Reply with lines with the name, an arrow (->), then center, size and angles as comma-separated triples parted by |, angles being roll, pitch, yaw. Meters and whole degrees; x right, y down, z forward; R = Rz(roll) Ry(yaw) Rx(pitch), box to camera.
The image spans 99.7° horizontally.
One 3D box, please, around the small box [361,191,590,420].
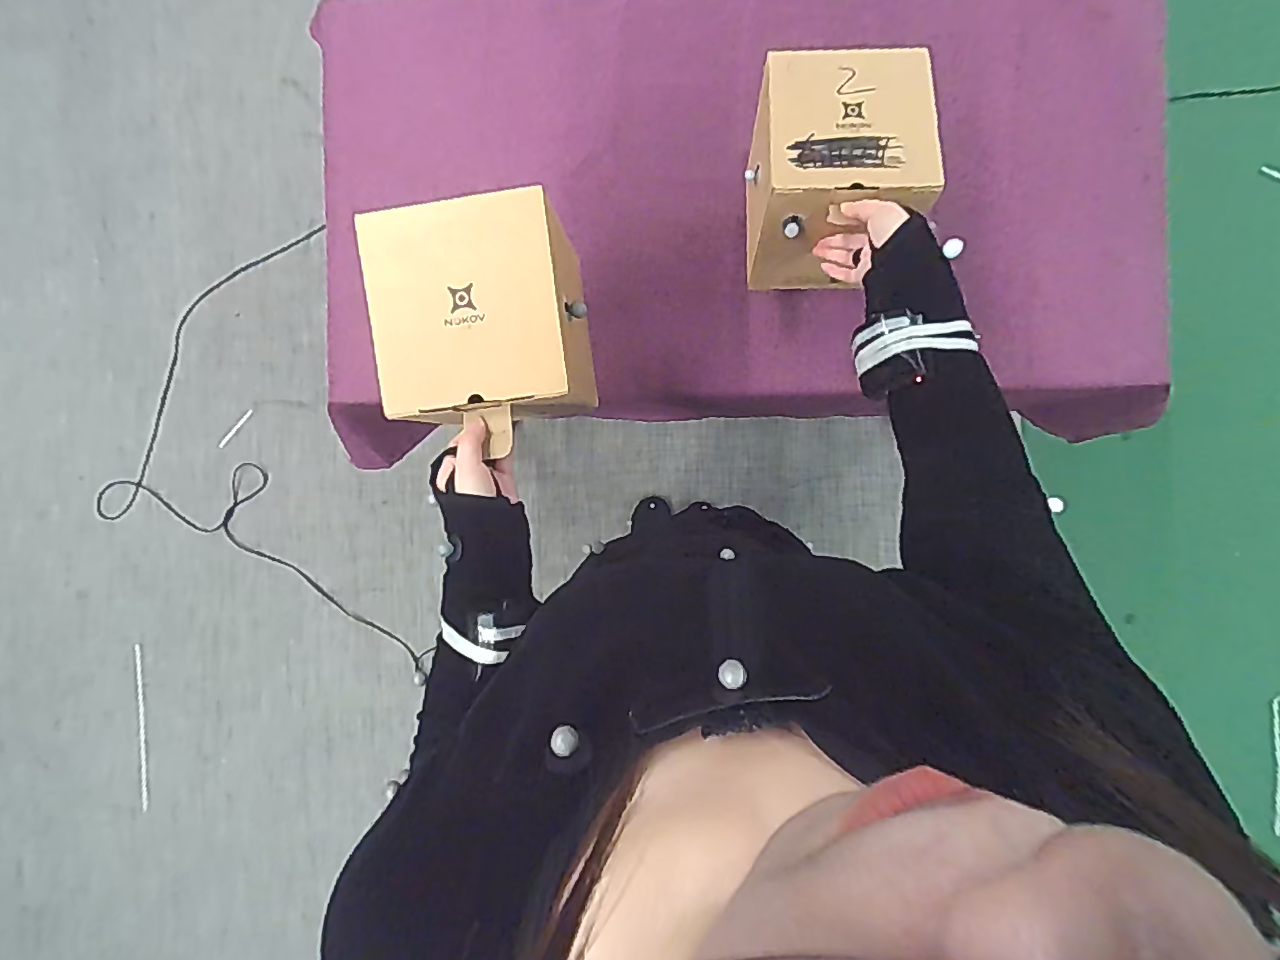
small box -> -0.151, -0.160, 0.553 | 0.168, 0.176, 0.179 | -7, 94, 4
